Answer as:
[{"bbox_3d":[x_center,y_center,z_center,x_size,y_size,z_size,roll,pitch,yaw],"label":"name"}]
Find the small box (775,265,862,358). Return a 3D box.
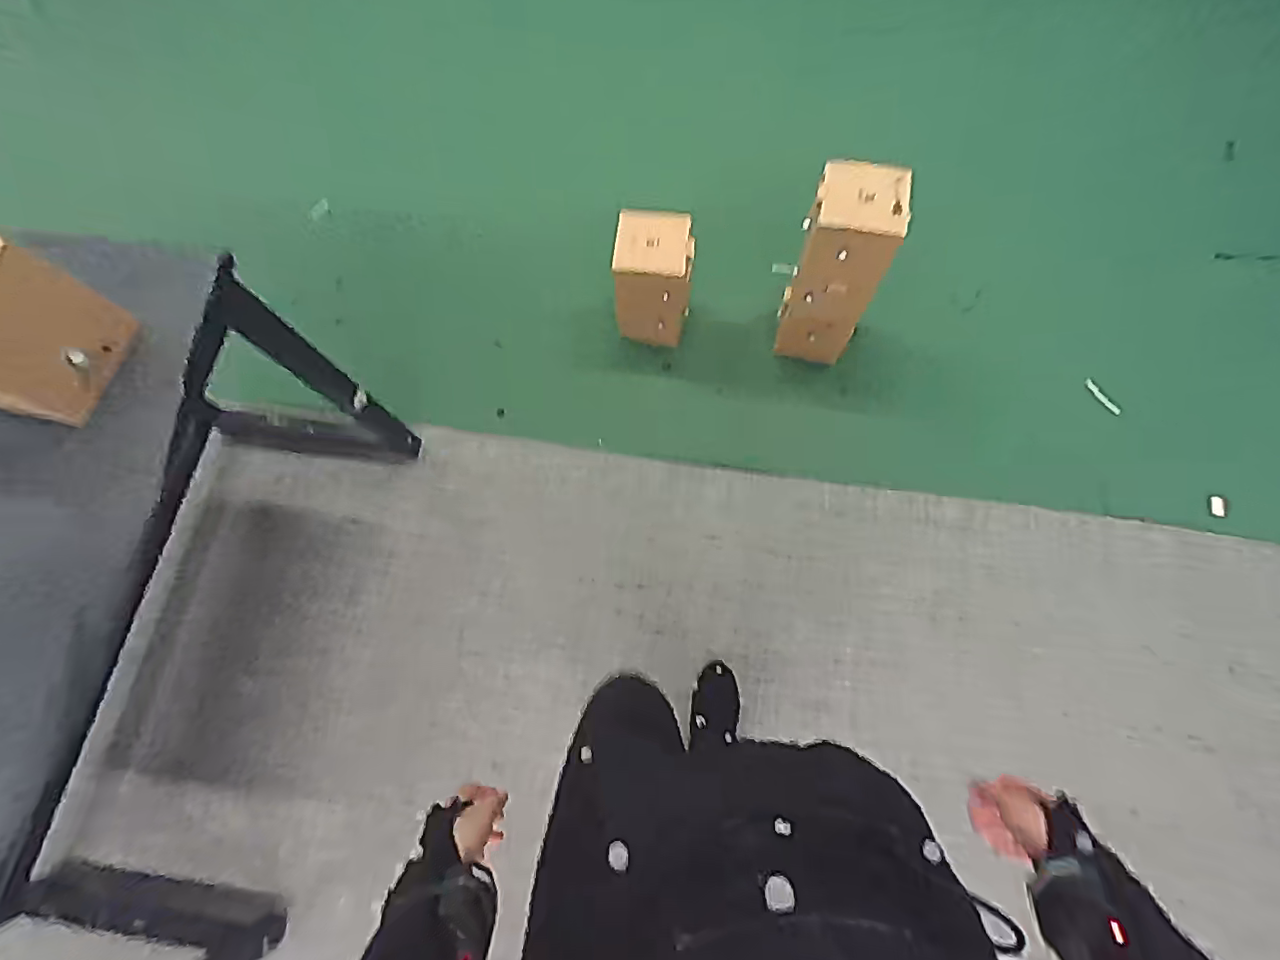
[{"bbox_3d":[0.482,-0.452,1.477,0.179,0.176,0.168,12,74,5],"label":"small box"}]

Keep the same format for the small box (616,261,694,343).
[{"bbox_3d":[0.043,-0.504,1.505,0.179,0.176,0.168,14,74,6],"label":"small box"}]

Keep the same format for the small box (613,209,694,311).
[{"bbox_3d":[0.036,-0.541,1.346,0.179,0.176,0.168,5,72,4],"label":"small box"}]

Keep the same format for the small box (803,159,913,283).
[{"bbox_3d":[0.460,-0.550,1.164,0.179,0.176,0.168,10,73,6],"label":"small box"}]

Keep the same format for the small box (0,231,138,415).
[{"bbox_3d":[-0.806,-0.196,0.672,0.179,0.176,0.168,12,75,7],"label":"small box"}]
